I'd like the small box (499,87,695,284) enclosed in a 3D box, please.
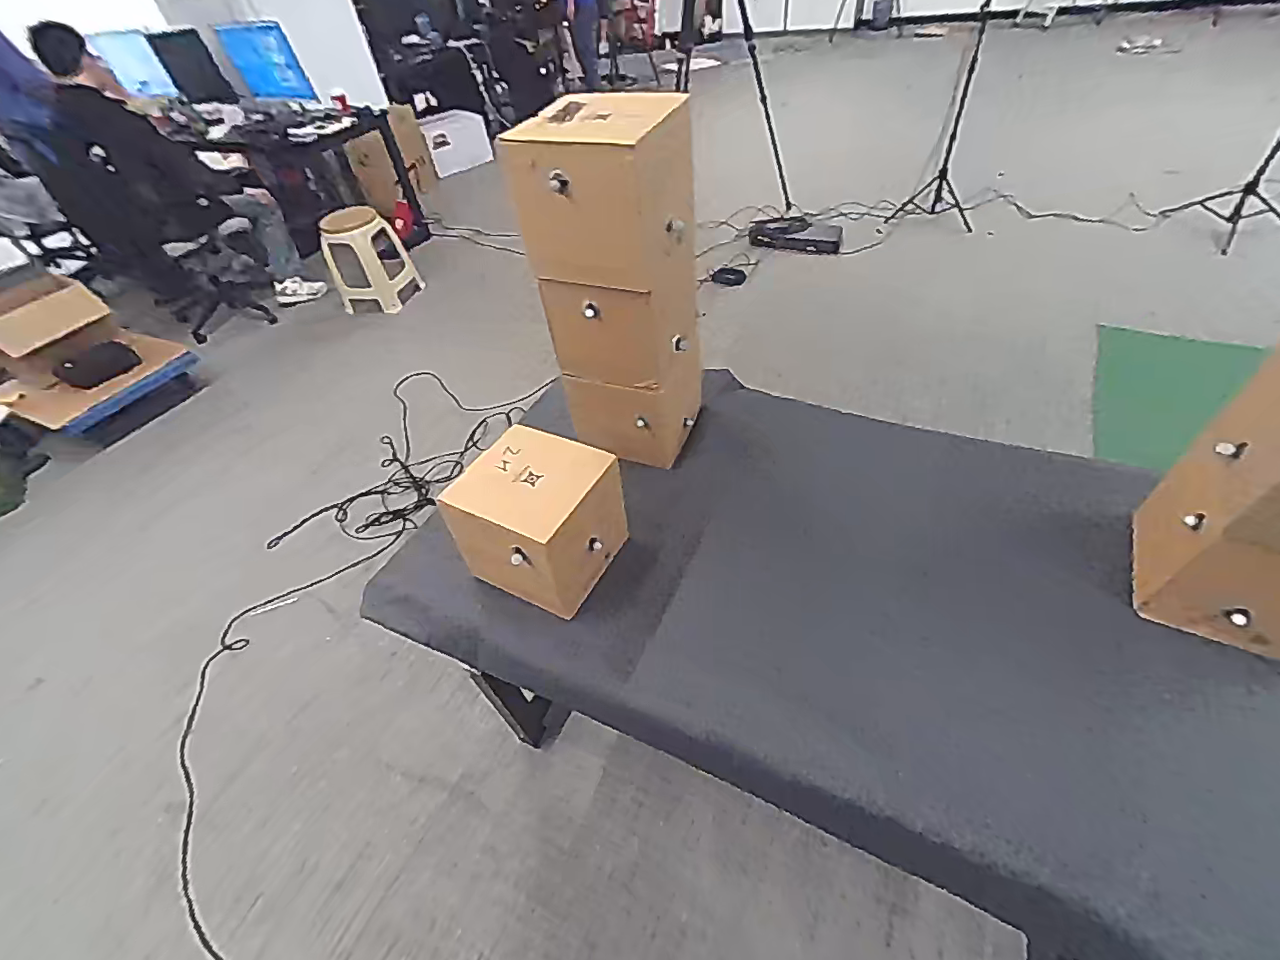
[{"bbox_3d":[-0.041,-0.367,0.677,0.179,0.176,0.168,16,54,20],"label":"small box"}]

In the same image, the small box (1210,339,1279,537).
[{"bbox_3d":[0.679,-0.038,0.493,0.168,0.176,0.179,19,55,24],"label":"small box"}]

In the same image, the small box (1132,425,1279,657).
[{"bbox_3d":[0.703,0.068,0.615,0.168,0.176,0.179,19,54,24],"label":"small box"}]

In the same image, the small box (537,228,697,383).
[{"bbox_3d":[-0.023,-0.266,0.805,0.179,0.176,0.168,14,53,18],"label":"small box"}]

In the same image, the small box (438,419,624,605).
[{"bbox_3d":[-0.136,0.047,0.749,0.179,0.176,0.168,18,50,23],"label":"small box"}]
